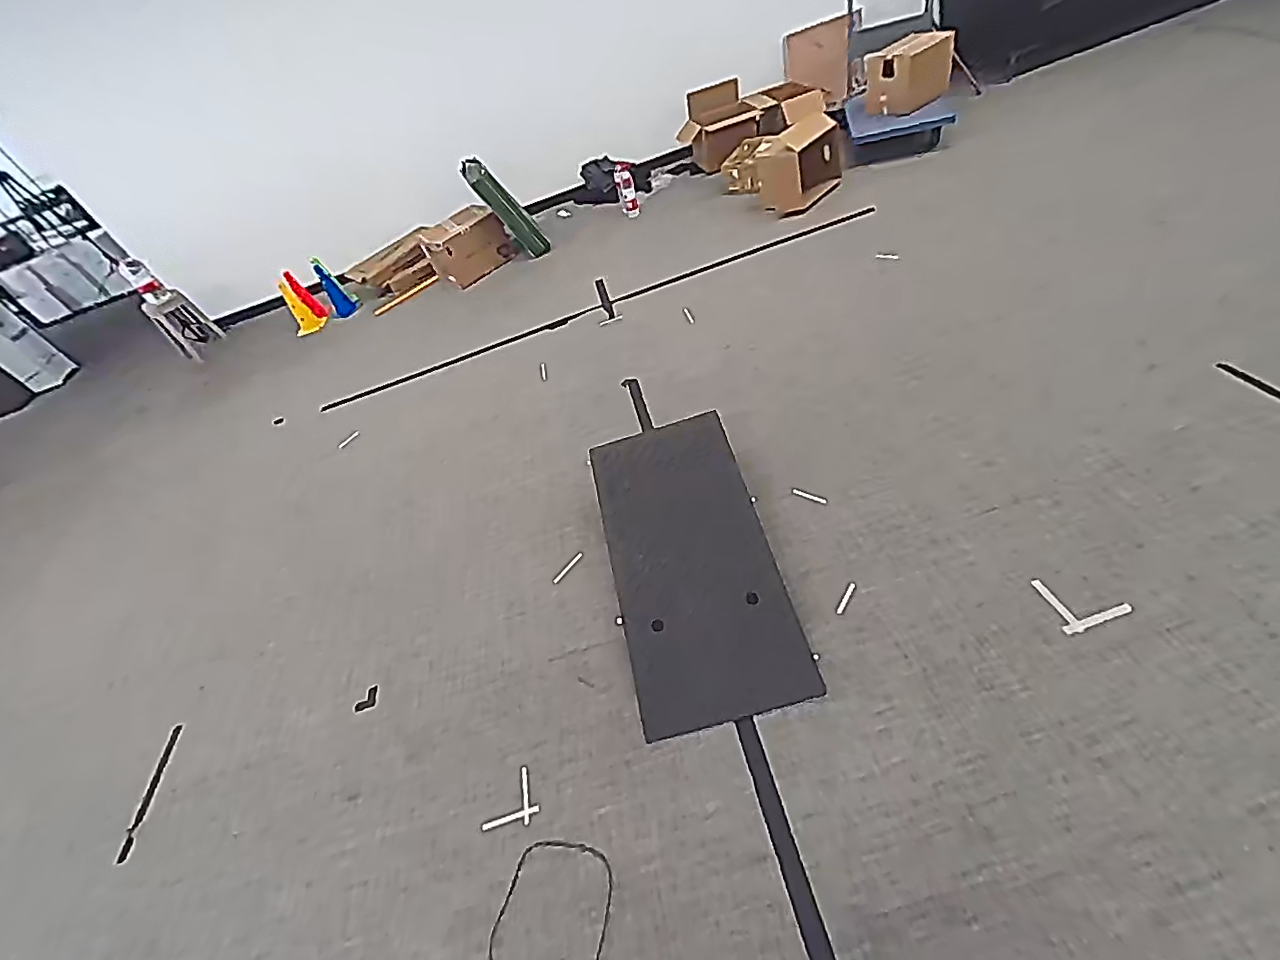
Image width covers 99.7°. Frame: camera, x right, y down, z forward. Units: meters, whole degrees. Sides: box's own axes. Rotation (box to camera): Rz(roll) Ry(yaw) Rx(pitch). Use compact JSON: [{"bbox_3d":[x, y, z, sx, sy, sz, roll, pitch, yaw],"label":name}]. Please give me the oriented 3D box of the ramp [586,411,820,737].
[{"bbox_3d":[0.139,0.217,1.694,0.509,0.206,0.991,-18,45,2],"label":"ramp"}]
